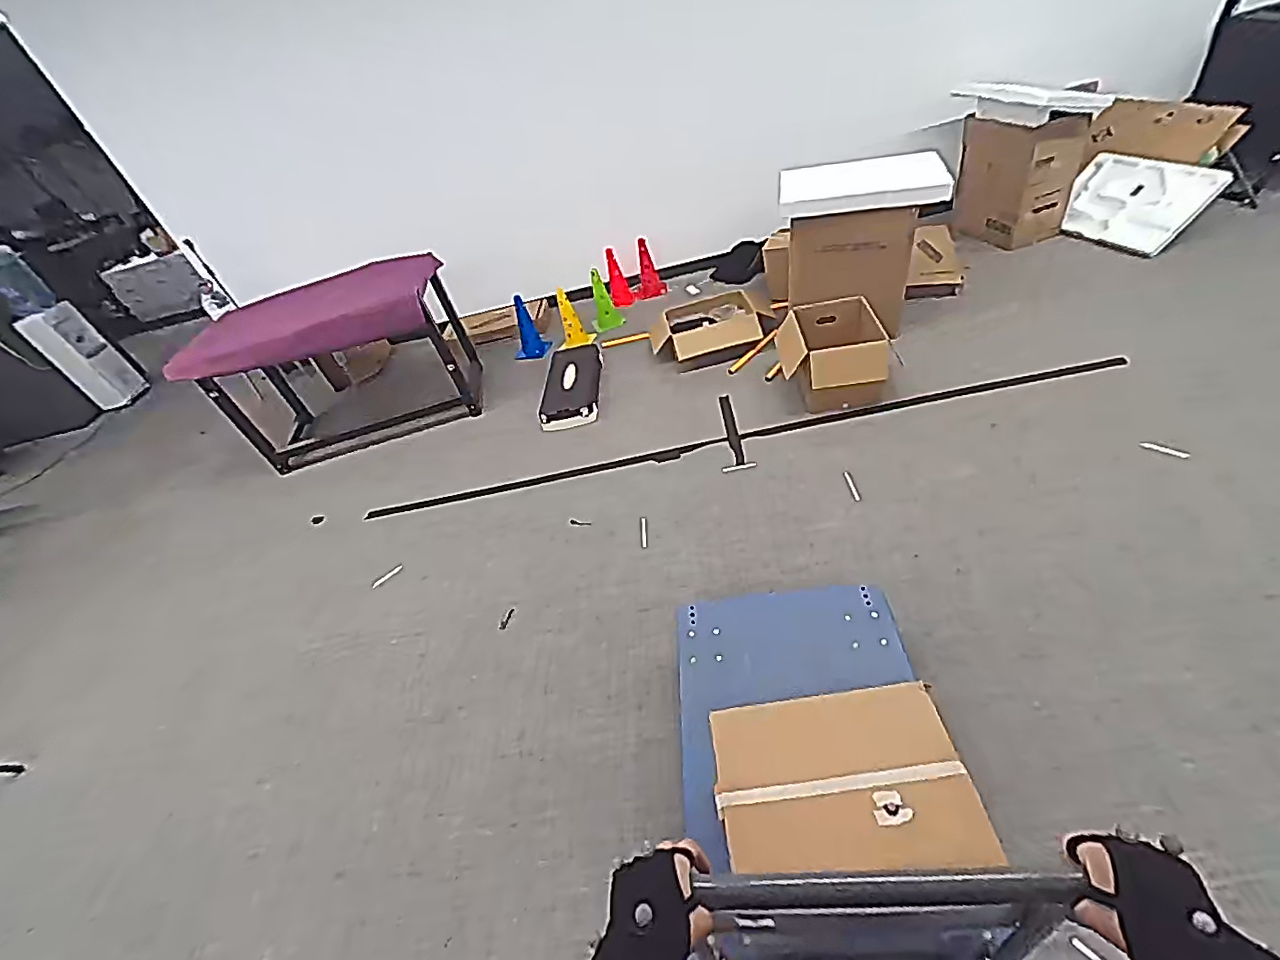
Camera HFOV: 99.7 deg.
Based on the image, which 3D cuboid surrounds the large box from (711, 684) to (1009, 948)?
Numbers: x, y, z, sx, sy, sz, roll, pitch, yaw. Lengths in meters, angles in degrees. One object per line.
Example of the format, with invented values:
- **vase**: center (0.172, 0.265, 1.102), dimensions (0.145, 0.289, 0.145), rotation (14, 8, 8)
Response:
- **large box**: center (0.367, 0.630, 1.012), dimensions (0.408, 0.320, 0.320), rotation (-10, 42, 5)
